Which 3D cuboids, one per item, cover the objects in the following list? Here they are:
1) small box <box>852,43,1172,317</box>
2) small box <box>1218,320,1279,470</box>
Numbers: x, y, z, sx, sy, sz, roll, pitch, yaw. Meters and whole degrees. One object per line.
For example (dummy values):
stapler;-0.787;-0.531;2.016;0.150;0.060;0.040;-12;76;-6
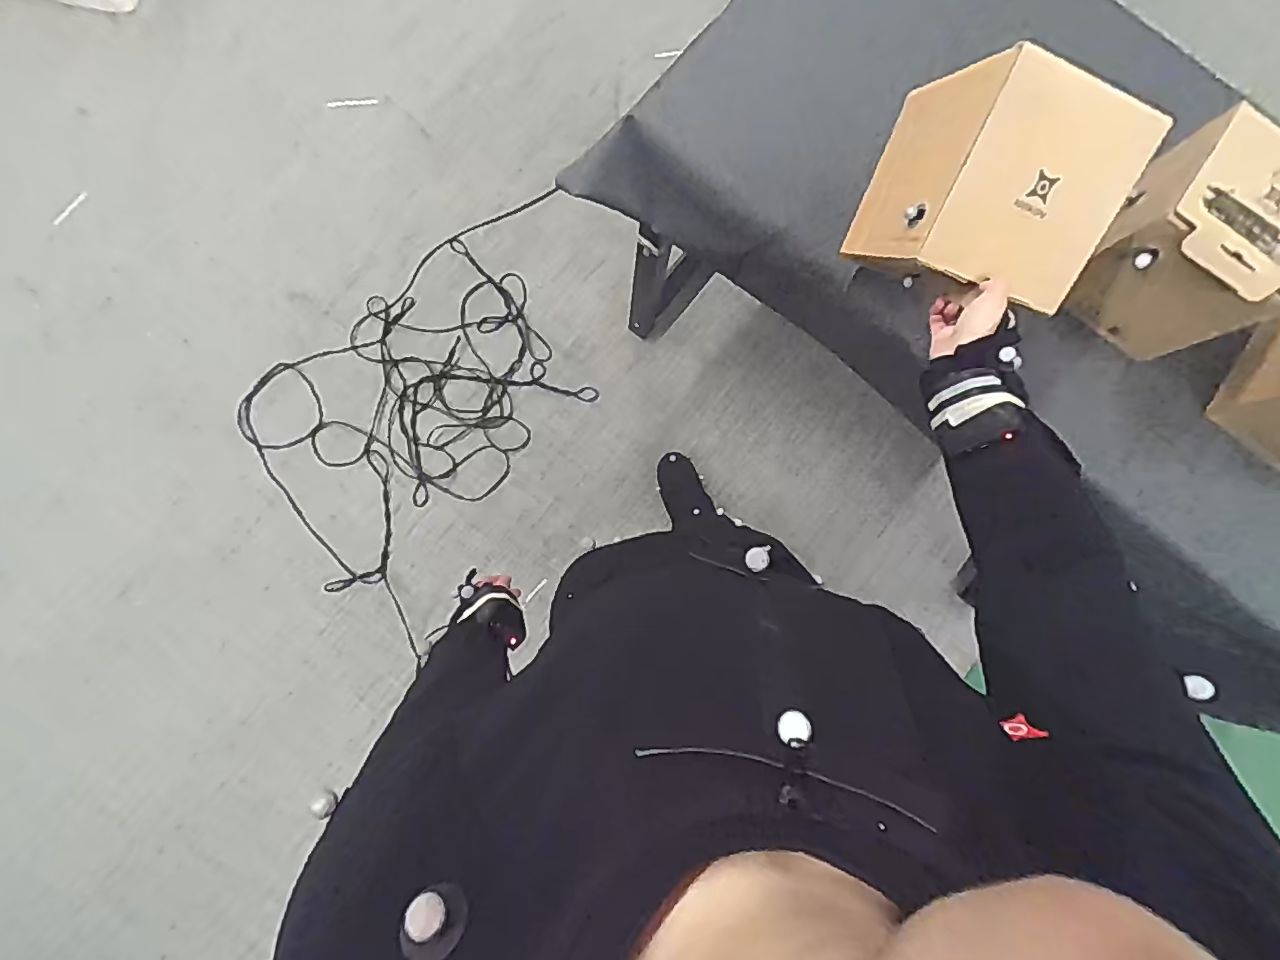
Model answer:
small box;0.351;-0.288;0.553;0.168;0.176;0.179;15;113;-12
small box;0.865;-0.108;0.641;0.168;0.176;0.179;38;81;0
